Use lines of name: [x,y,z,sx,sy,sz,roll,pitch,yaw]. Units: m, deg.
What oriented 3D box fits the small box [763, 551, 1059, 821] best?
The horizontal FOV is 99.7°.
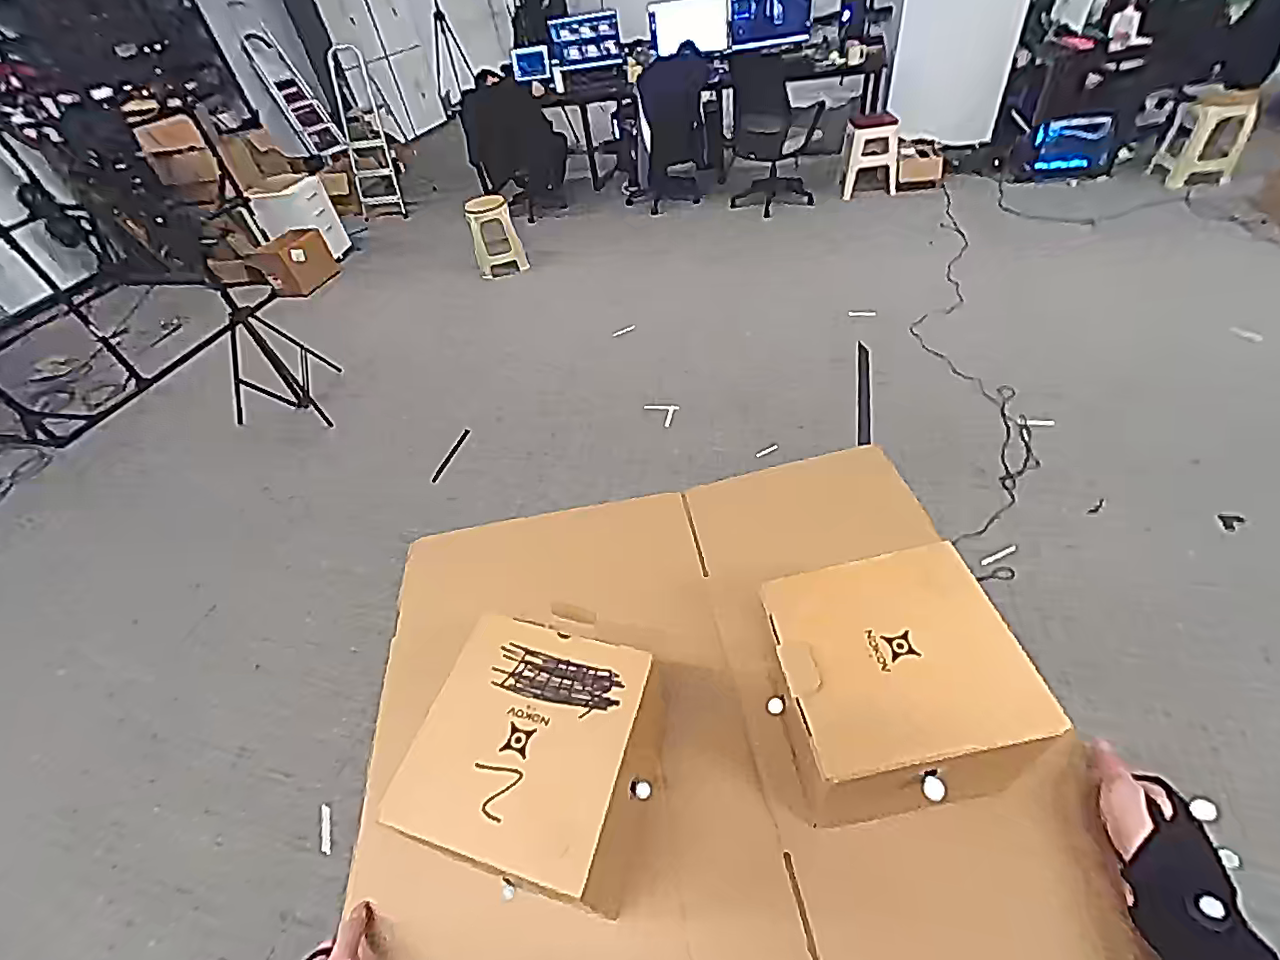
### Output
small box: [0.221,0.194,0.500,0.179,0.176,0.168,-14,46,3]
